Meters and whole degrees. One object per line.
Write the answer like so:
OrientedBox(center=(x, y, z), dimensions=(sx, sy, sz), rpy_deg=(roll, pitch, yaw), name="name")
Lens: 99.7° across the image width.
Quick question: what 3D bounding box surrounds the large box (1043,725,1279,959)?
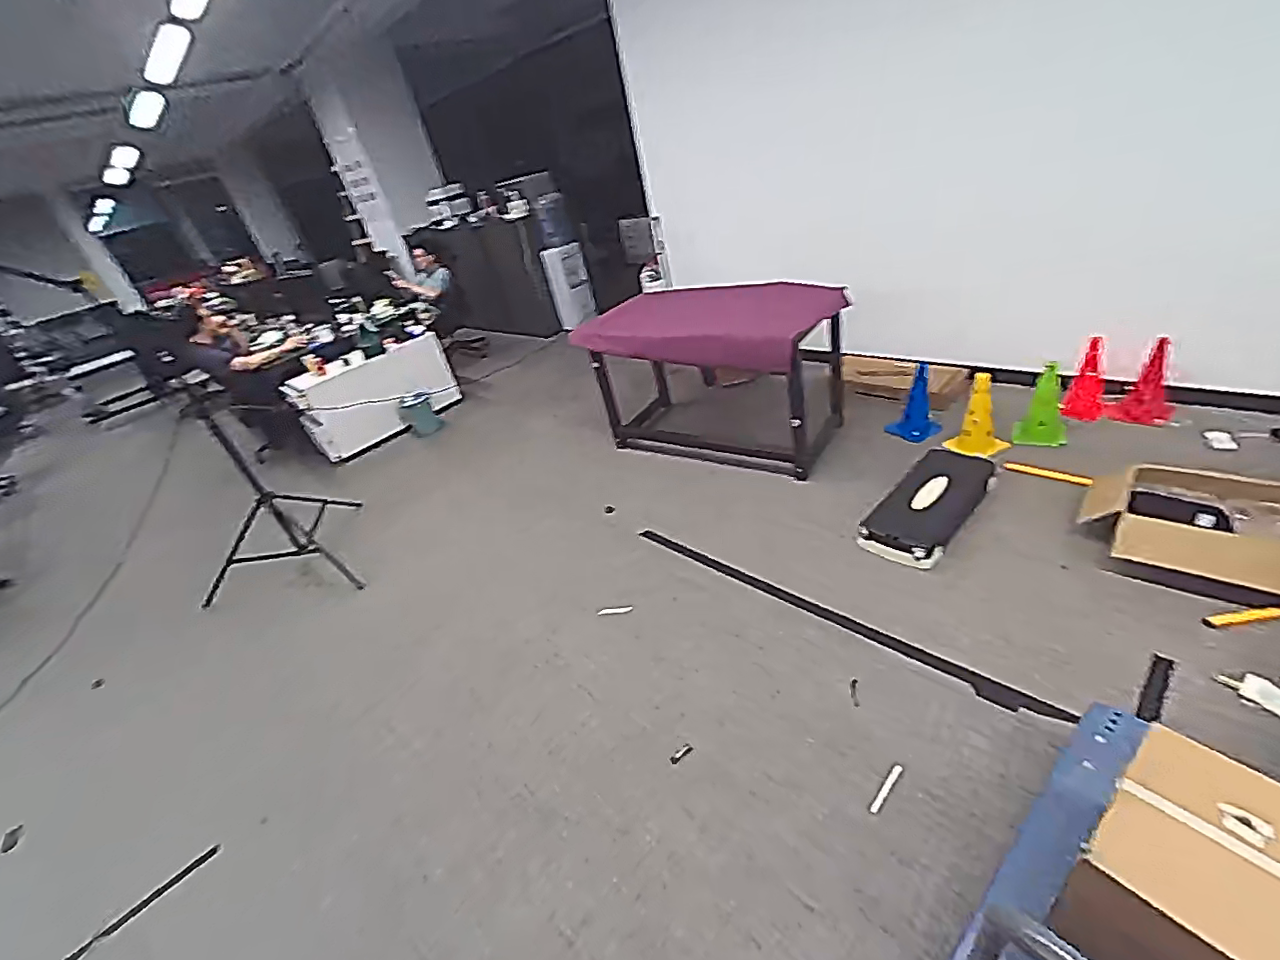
OrientedBox(center=(0.950, 0.698, 0.852), dimensions=(0.320, 0.320, 0.408), rpy_deg=(-32, 35, -26), name="large box")
